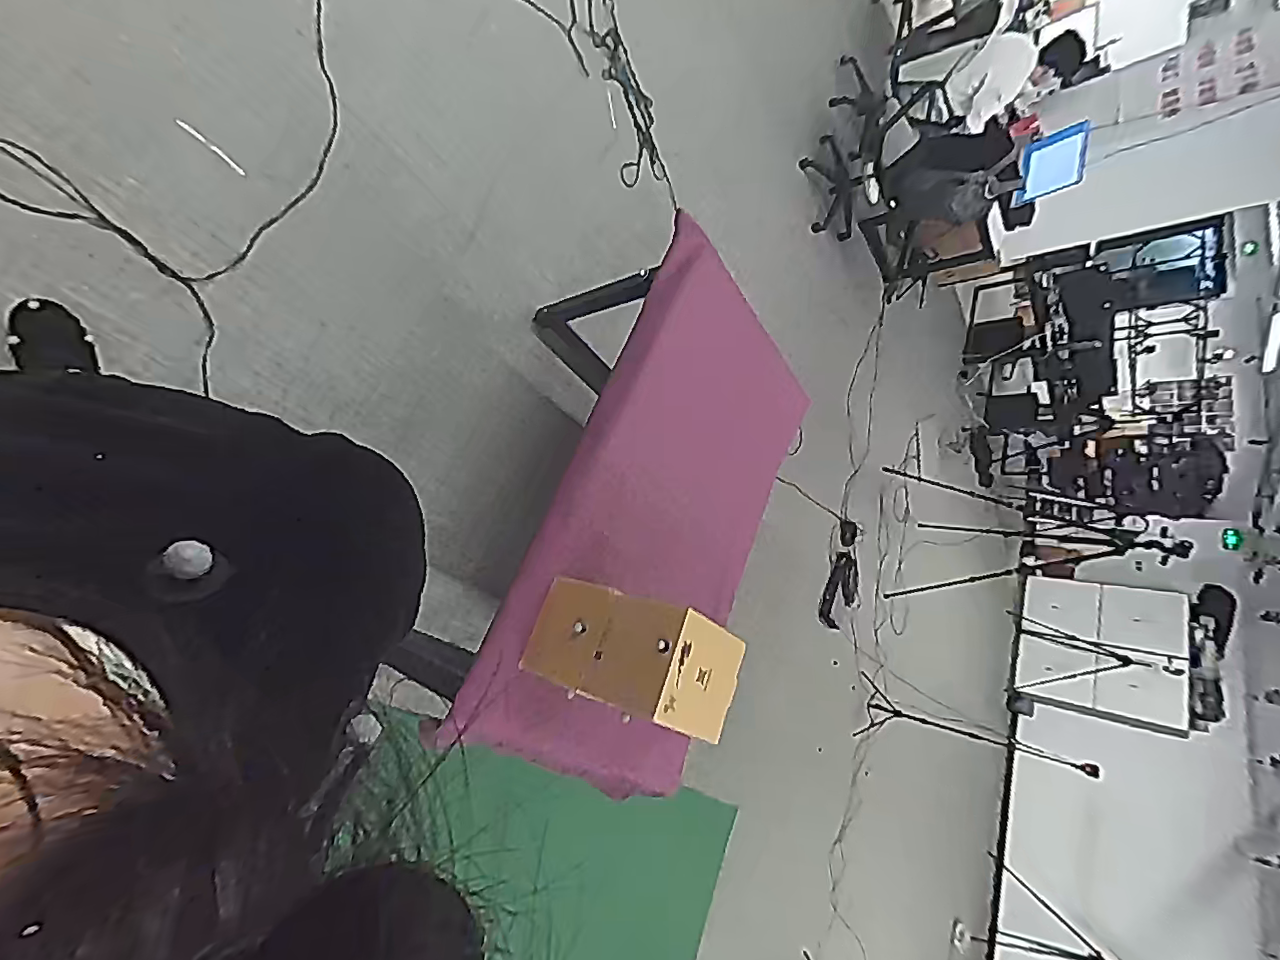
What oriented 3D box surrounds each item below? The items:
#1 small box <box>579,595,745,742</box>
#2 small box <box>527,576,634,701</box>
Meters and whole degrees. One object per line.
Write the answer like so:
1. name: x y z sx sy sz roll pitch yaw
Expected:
1. small box: 0.037 0.297 0.873 0.179 0.176 0.168 40 62 -38
2. small box: -0.080 0.291 0.987 0.168 0.176 0.179 39 63 -38
